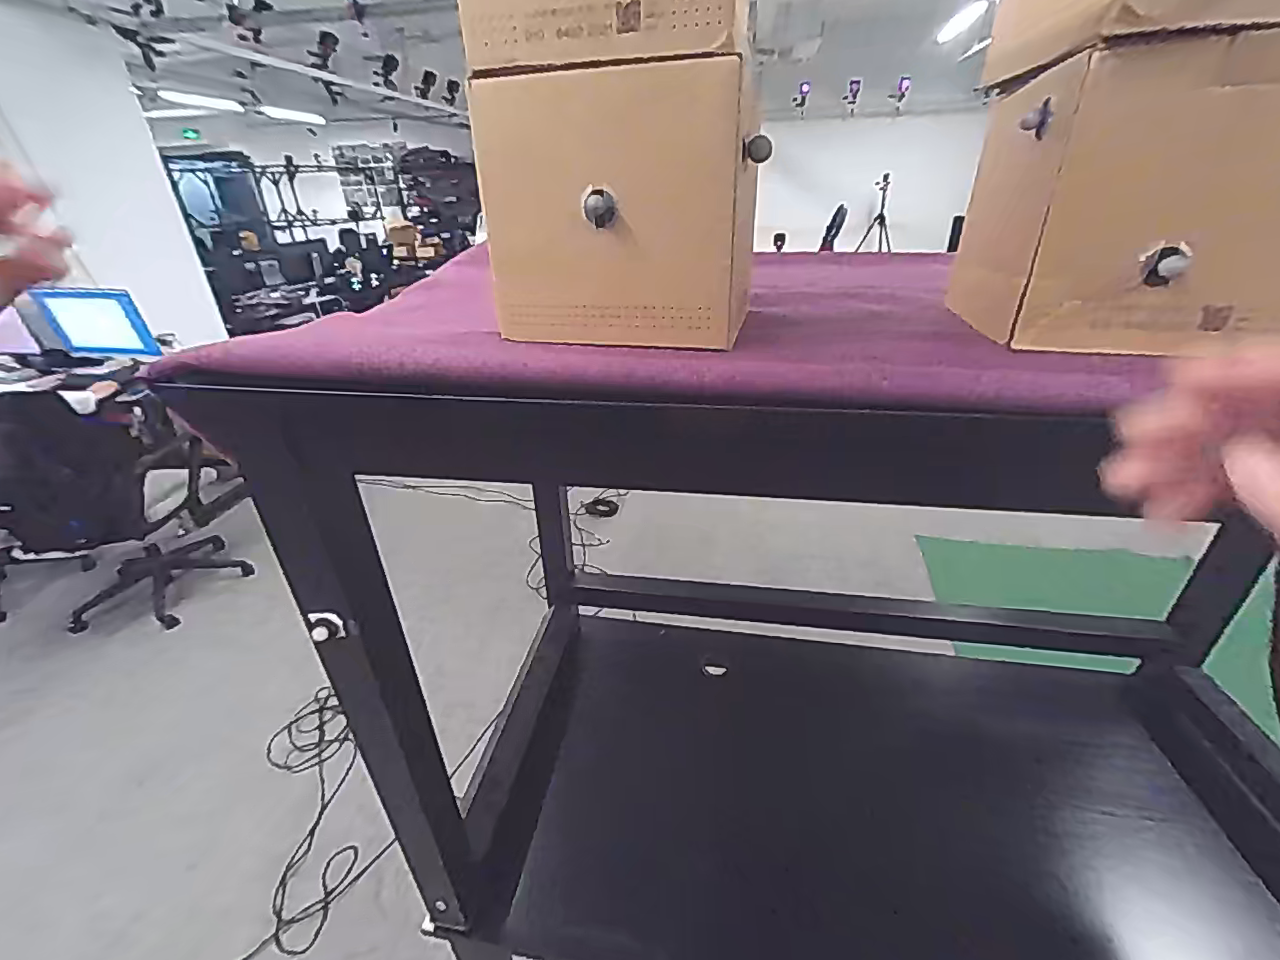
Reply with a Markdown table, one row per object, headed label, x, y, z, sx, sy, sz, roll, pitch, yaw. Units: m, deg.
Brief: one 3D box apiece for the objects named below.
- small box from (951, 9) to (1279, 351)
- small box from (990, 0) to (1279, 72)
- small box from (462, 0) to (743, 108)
| label | x | y | z | sx | sy | sz | roll | pitch | yaw |
| --- | --- | --- | --- | --- | --- | --- | --- | --- | --- |
| small box | 0.336 | -0.195 | 0.371 | 0.168 | 0.176 | 0.179 | 5 | 29 | 14 |
| small box | 0.324 | -0.337 | 0.292 | 0.168 | 0.176 | 0.179 | 1 | 29 | 10 |
| small box | -0.018 | -0.362 | 0.354 | 0.168 | 0.176 | 0.179 | 3 | 28 | 11 |
